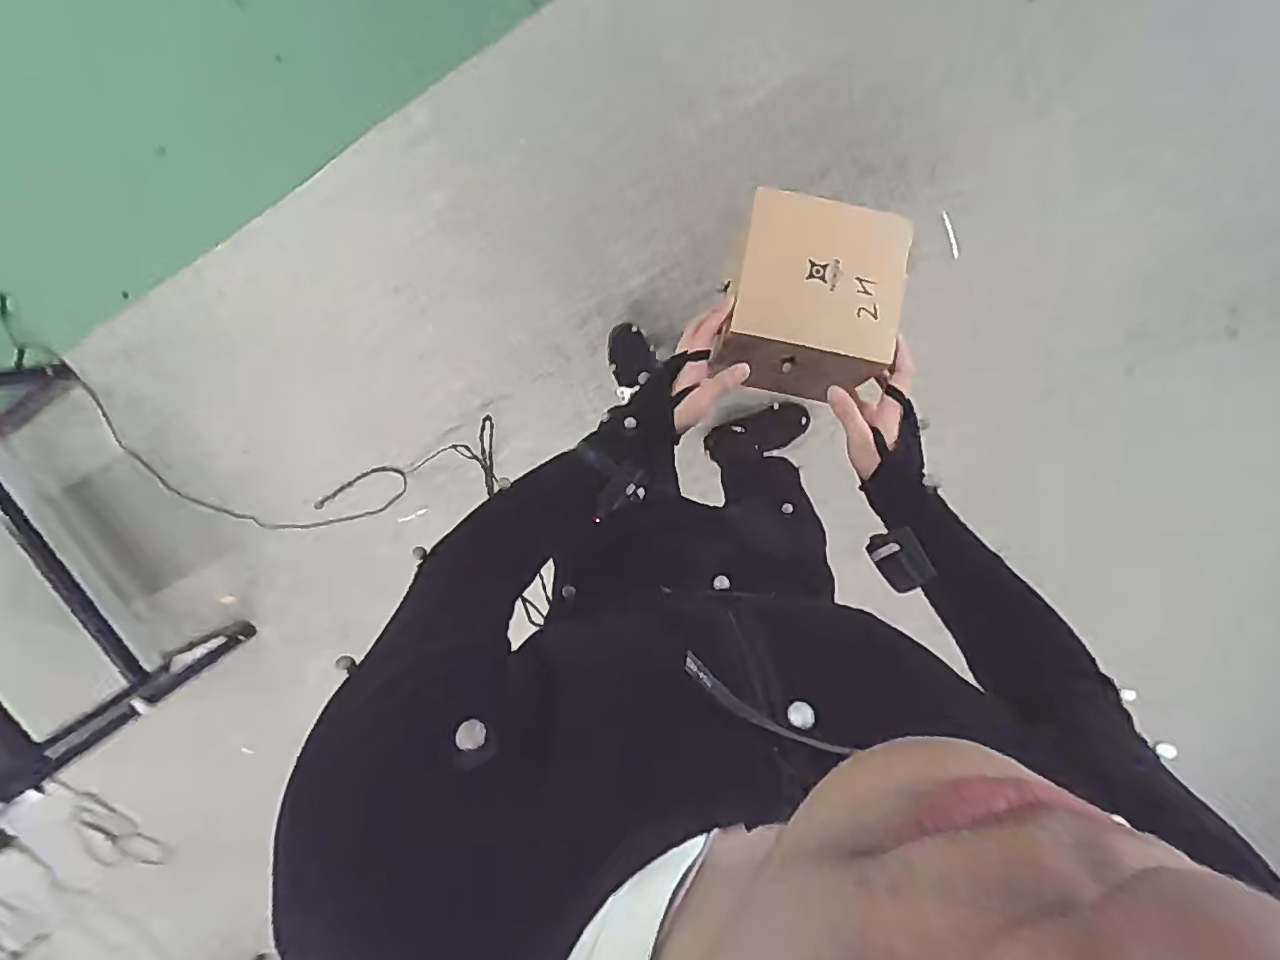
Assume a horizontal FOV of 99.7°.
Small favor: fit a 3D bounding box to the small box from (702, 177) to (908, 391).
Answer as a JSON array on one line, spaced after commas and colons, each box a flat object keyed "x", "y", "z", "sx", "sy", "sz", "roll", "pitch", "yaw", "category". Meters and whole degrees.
[{"x": 0.179, "y": -0.215, "z": 0.640, "sx": 0.179, "sy": 0.176, "sz": 0.168, "roll": 12, "pitch": 85, "yaw": -2, "category": "small box"}]
